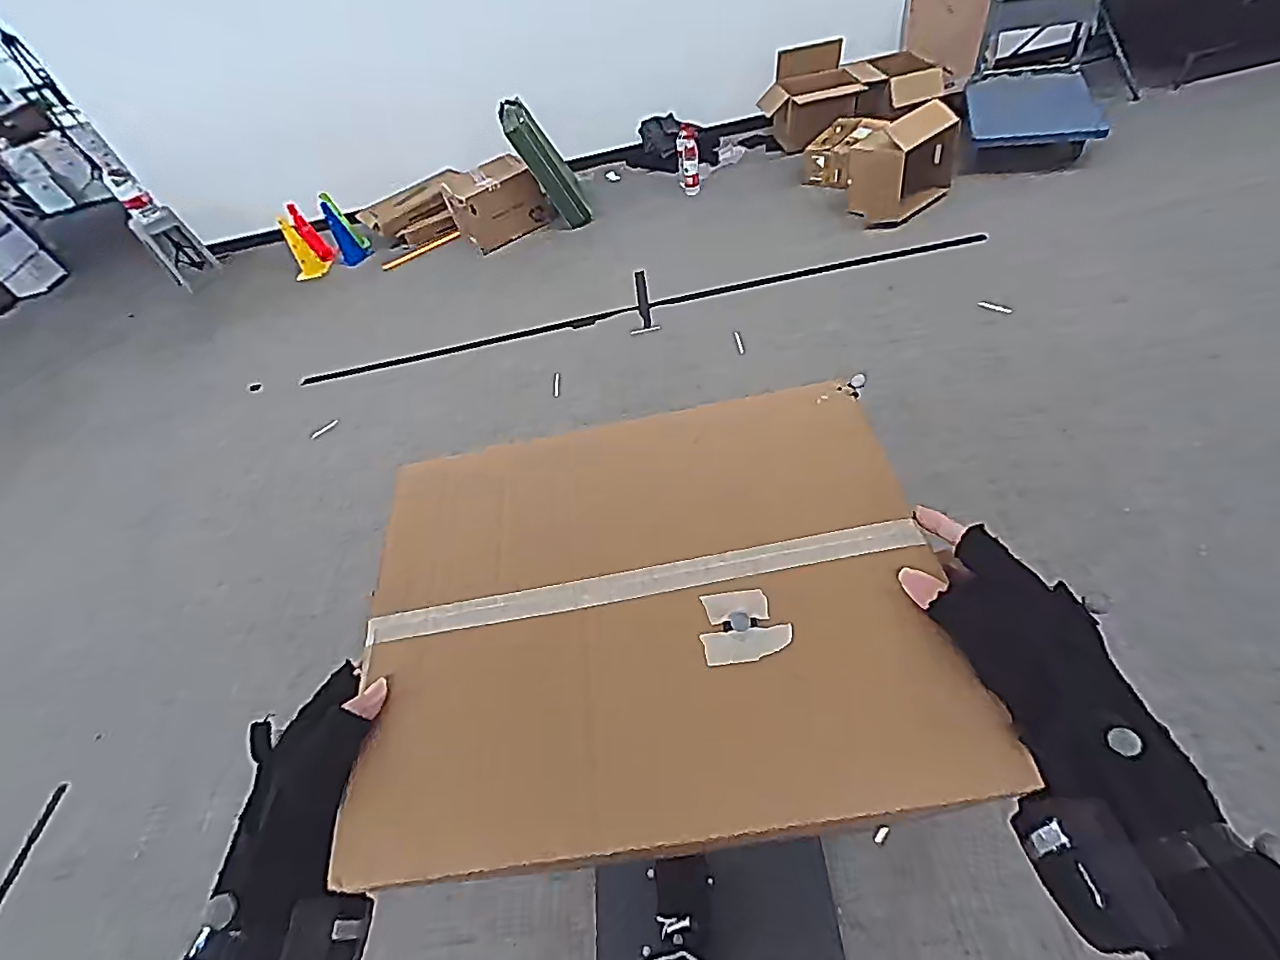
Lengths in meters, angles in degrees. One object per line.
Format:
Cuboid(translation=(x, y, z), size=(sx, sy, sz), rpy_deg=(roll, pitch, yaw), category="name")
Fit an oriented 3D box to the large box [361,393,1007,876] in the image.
Cuboid(translation=(0.024, 0.166, 0.528), size=(0.408, 0.320, 0.320), rpy_deg=(-11, 55, 3), category="large box")
